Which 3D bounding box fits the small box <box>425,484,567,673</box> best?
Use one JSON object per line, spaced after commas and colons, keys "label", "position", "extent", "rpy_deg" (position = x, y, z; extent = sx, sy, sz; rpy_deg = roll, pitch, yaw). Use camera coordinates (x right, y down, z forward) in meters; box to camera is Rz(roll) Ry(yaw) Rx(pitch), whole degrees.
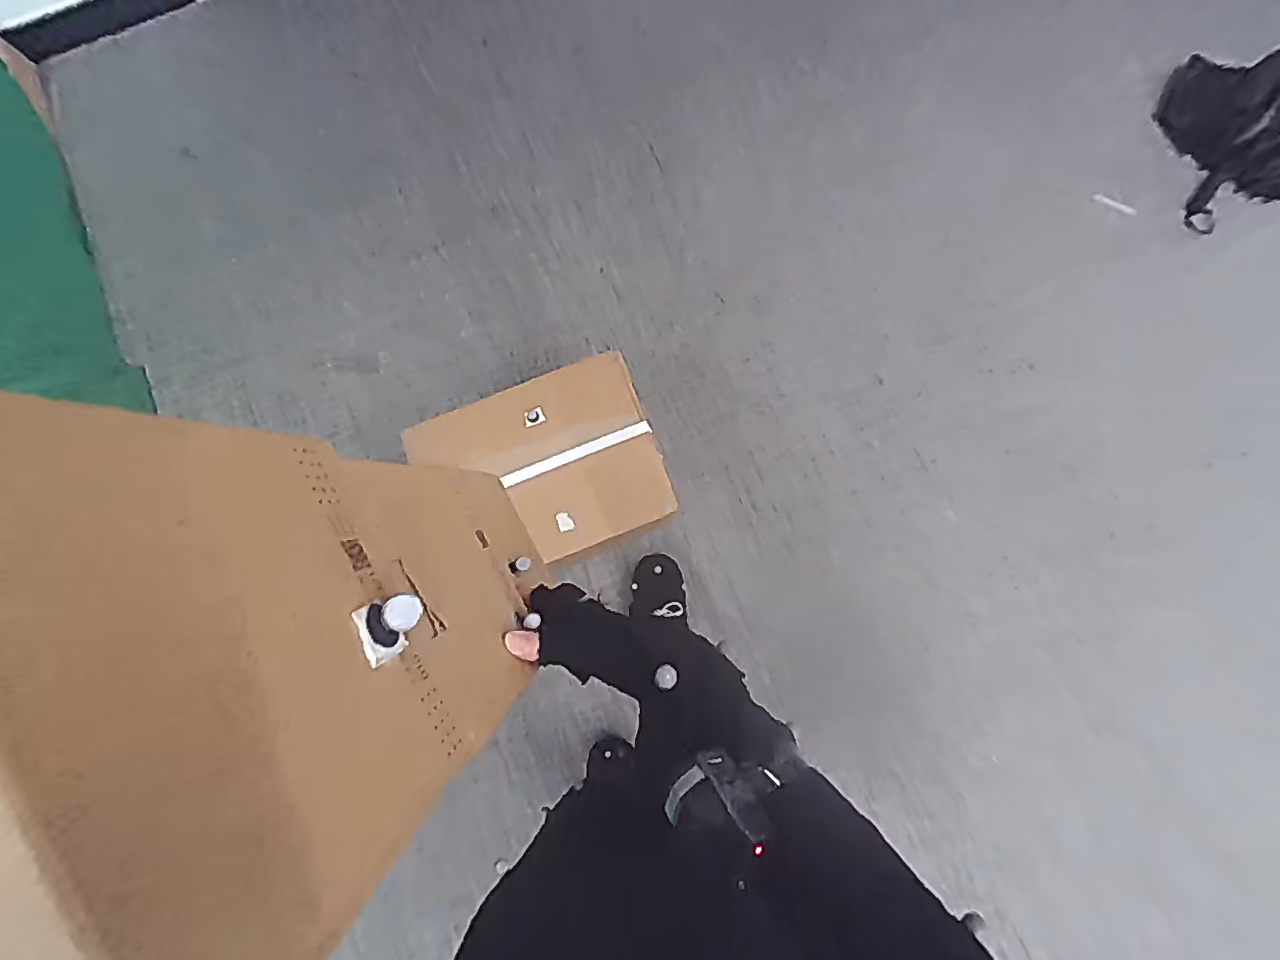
{"label": "small box", "position": [-0.188, 0.113, 0.518], "extent": [0.168, 0.176, 0.179], "rpy_deg": [-30, 89, 1]}

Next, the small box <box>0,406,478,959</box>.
{"label": "small box", "position": [-0.189, 0.096, 0.192], "extent": [0.179, 0.176, 0.168], "rpy_deg": [-30, 88, 0]}

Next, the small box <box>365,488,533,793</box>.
{"label": "small box", "position": [-0.186, 0.110, 0.352], "extent": [0.179, 0.176, 0.168], "rpy_deg": [-28, 87, 2]}
